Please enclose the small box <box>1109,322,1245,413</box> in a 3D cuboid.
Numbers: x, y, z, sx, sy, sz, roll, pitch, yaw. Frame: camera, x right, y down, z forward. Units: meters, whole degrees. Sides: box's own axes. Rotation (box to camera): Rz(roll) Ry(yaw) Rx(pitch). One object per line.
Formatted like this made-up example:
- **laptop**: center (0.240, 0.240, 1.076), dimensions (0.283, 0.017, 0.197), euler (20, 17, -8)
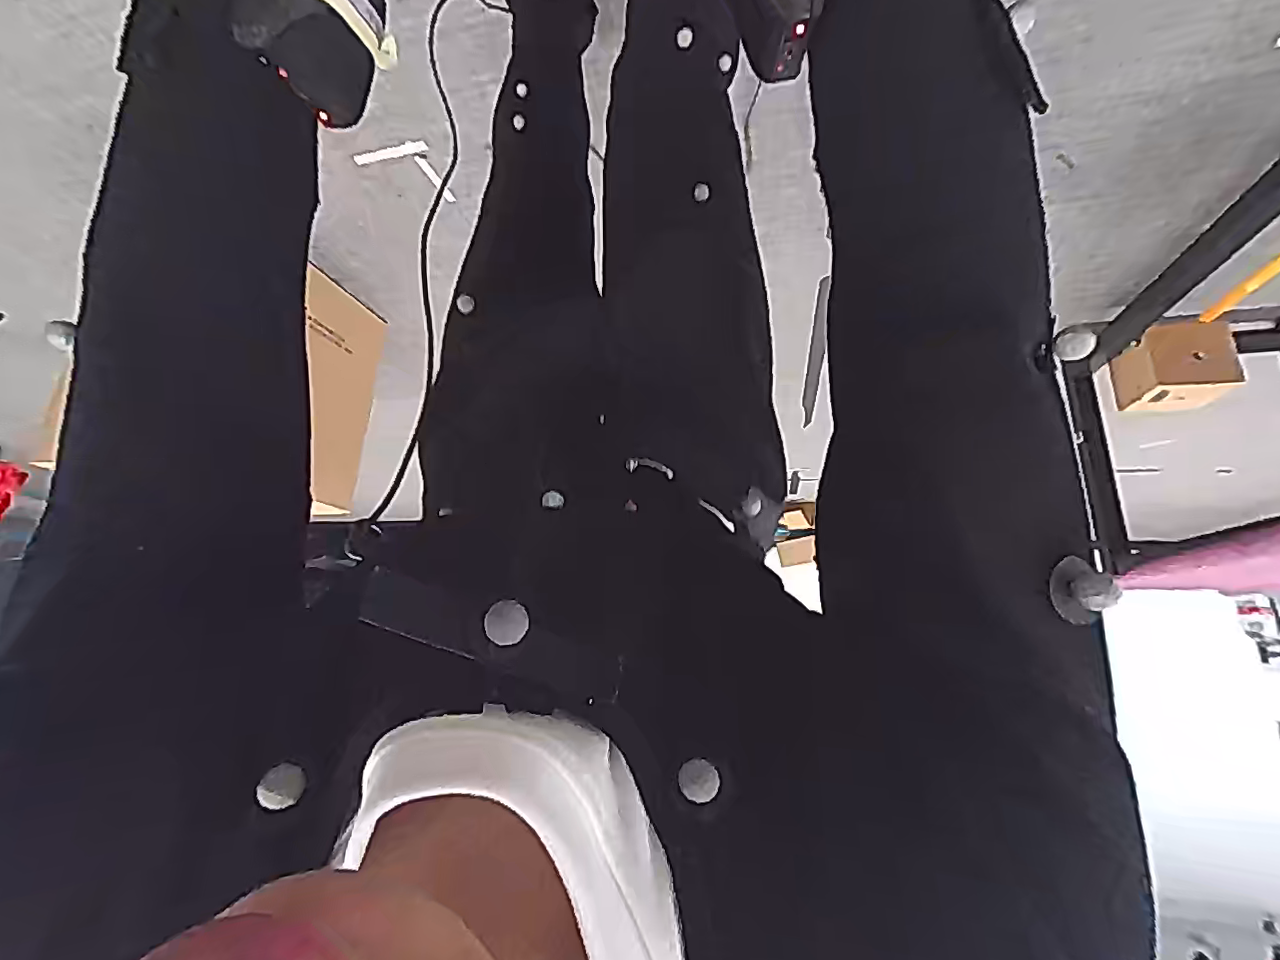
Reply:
- **small box**: center (1.350, -0.283, 1.377), dimensions (0.179, 0.176, 0.168), euler (-2, 162, 13)
